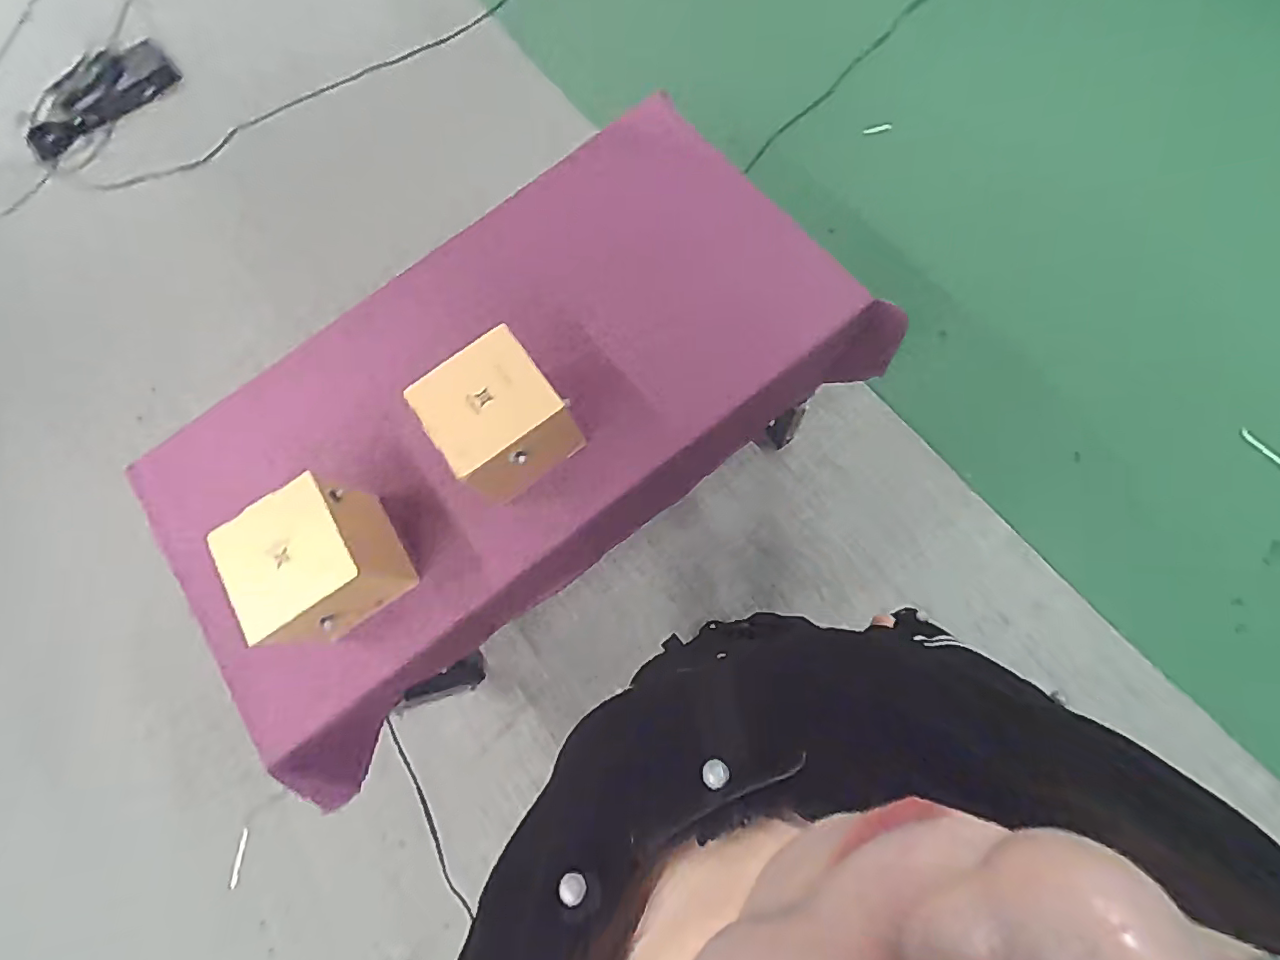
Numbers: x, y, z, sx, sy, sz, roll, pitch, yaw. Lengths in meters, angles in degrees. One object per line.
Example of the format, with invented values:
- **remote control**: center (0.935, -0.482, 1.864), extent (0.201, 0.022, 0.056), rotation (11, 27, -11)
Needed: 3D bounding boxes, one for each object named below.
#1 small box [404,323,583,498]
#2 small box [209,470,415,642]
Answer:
- **small box**: center (-0.211, -0.094, 0.823), extent (0.179, 0.176, 0.168), rotation (-36, 75, -4)
- **small box**: center (-0.470, 0.116, 0.798), extent (0.168, 0.176, 0.179), rotation (-34, 73, -3)
